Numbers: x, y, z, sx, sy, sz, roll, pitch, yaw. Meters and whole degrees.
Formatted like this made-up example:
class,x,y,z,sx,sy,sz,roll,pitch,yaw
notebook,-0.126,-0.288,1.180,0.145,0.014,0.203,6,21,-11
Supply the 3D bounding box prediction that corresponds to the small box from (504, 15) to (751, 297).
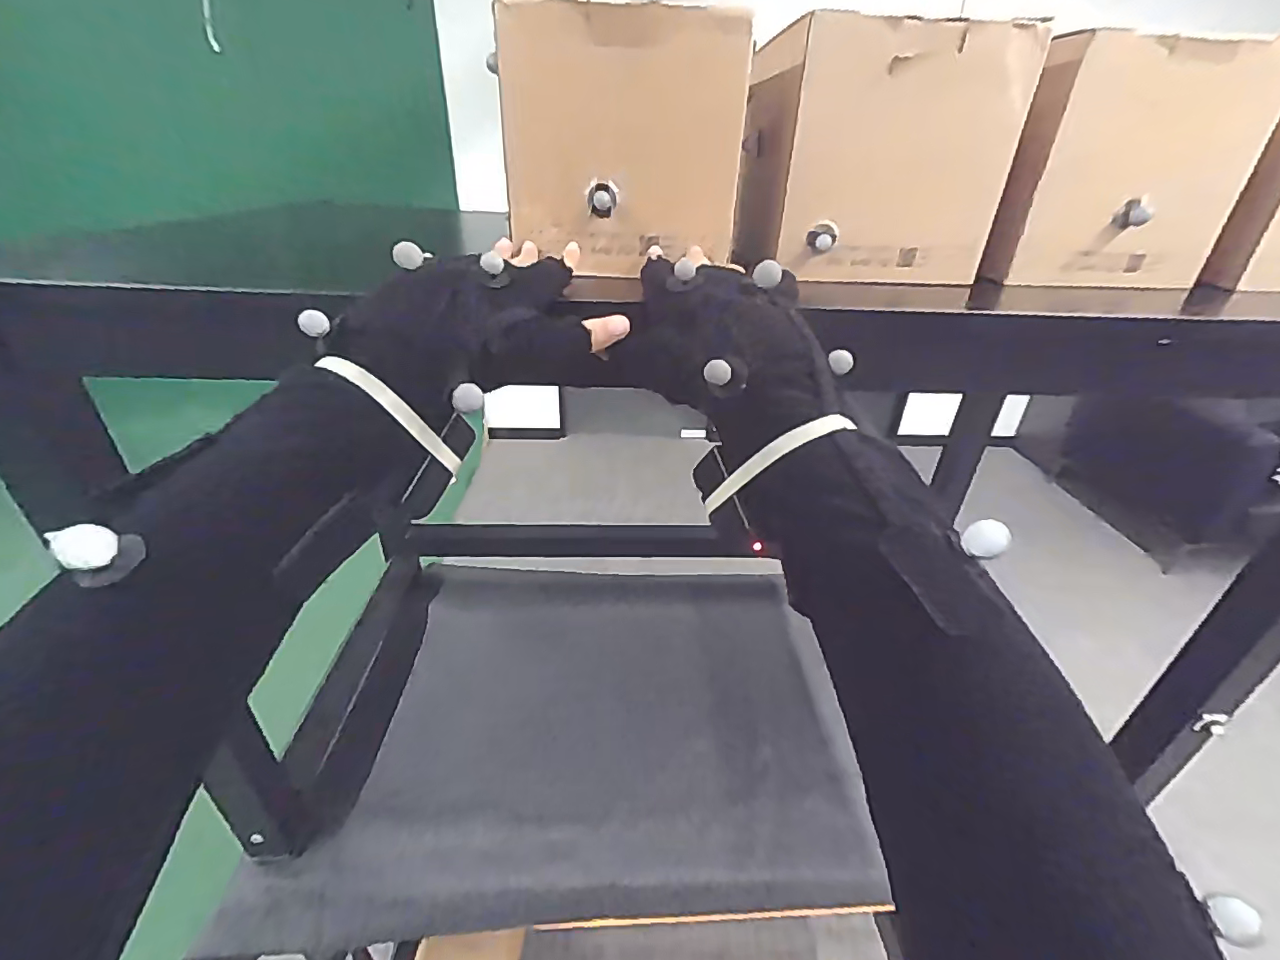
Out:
class,x,y,z,sx,sy,sz,roll,pitch,yaw
small box,-0.013,-0.263,0.462,0.168,0.176,0.179,1,30,-2
